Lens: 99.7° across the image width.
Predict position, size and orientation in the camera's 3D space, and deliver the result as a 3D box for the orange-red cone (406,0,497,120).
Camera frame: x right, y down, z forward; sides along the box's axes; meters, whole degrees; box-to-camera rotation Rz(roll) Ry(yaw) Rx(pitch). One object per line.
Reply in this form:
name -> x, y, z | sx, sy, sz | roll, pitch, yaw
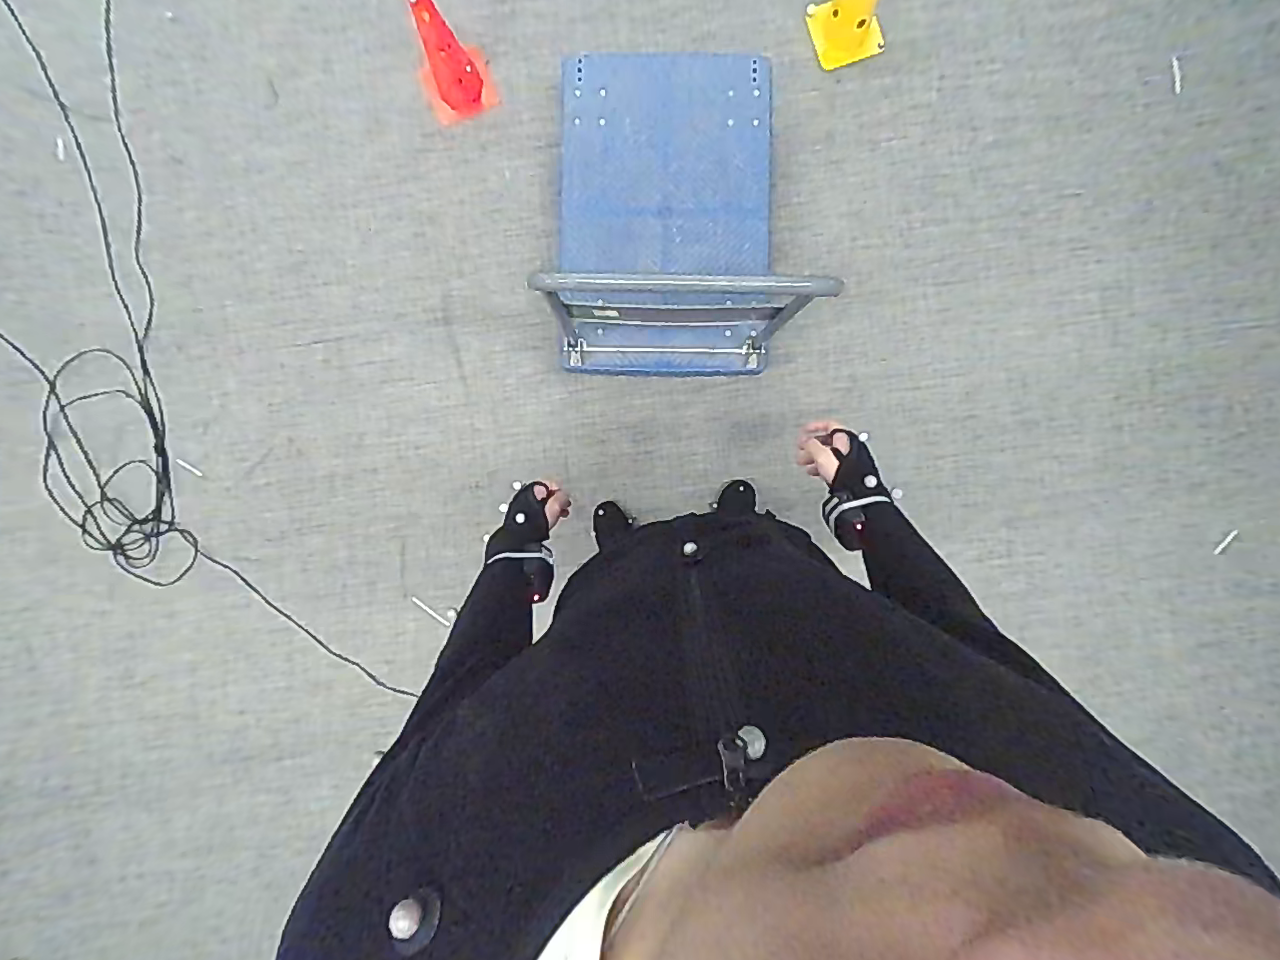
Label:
orange-red cone -> -0.564, -1.224, 1.491 | 0.199, 0.360, 0.198 | -22, 88, 3
